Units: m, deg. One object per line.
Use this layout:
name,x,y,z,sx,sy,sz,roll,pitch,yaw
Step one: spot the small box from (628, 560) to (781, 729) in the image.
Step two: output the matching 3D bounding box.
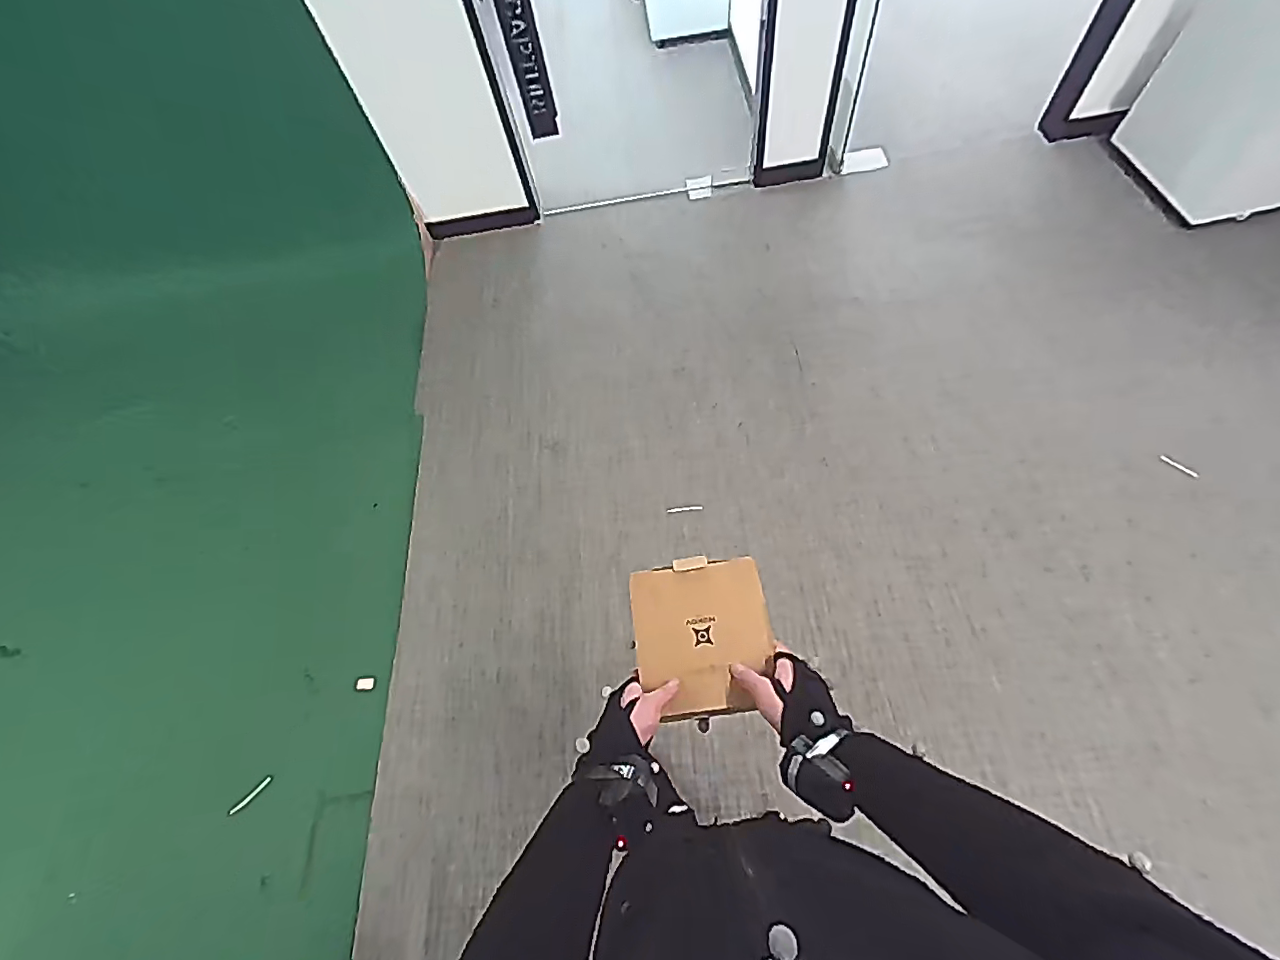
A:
small box,0.077,0.221,0.707,0.168,0.176,0.179,-7,63,4
